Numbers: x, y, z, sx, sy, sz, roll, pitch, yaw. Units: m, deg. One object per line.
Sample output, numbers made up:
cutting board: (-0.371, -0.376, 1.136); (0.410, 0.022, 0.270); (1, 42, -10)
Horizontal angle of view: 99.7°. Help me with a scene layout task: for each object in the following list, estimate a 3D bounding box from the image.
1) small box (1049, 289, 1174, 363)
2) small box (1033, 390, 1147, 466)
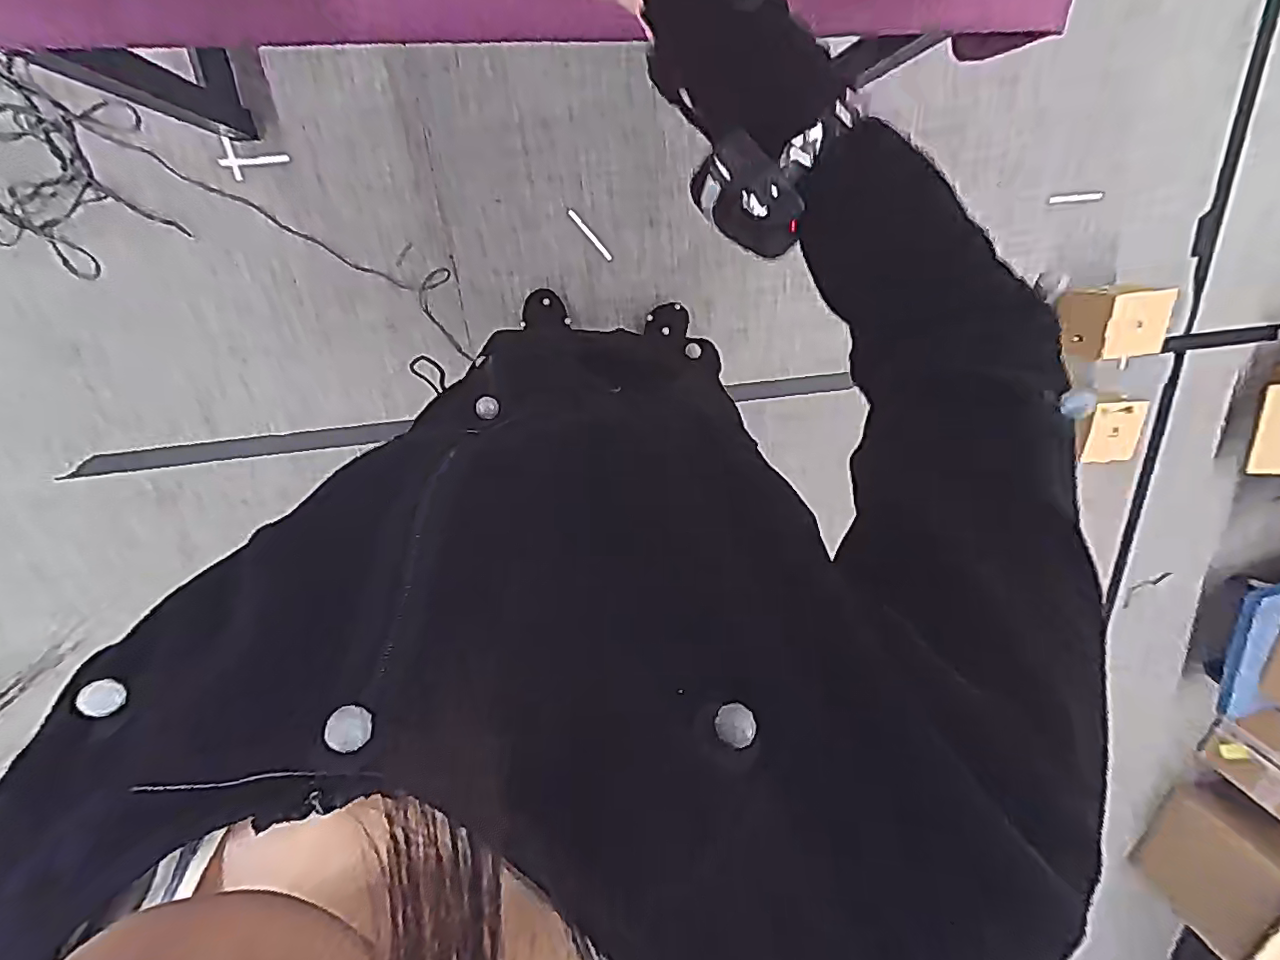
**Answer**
small box: (1.263, -0.422, 1.464); (0.179, 0.176, 0.168); (-9, 114, -7)
small box: (1.299, -0.155, 1.578); (0.168, 0.176, 0.179); (-4, 113, -8)
